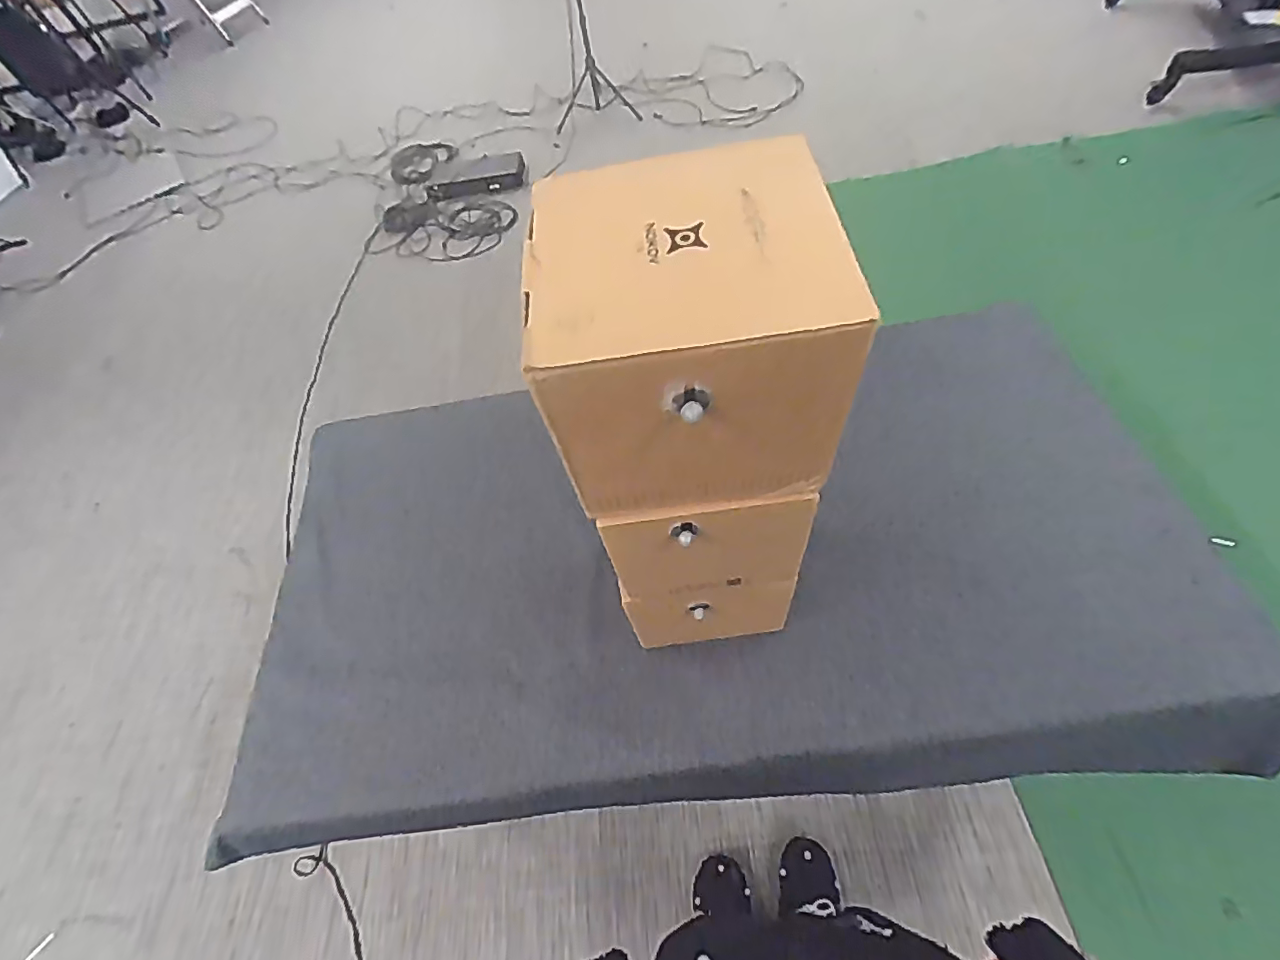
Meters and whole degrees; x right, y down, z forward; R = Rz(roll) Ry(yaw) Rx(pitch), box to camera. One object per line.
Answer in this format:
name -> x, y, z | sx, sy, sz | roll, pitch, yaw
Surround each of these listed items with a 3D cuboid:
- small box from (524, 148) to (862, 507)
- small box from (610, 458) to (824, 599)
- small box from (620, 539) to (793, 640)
small box -> 0.031, -0.093, 0.381 | 0.179, 0.176, 0.168 | -7, 59, 4
small box -> 0.058, -0.006, 0.519 | 0.168, 0.176, 0.179 | -10, 58, 2
small box -> 0.074, 0.084, 0.652 | 0.179, 0.176, 0.168 | -9, 57, 3
